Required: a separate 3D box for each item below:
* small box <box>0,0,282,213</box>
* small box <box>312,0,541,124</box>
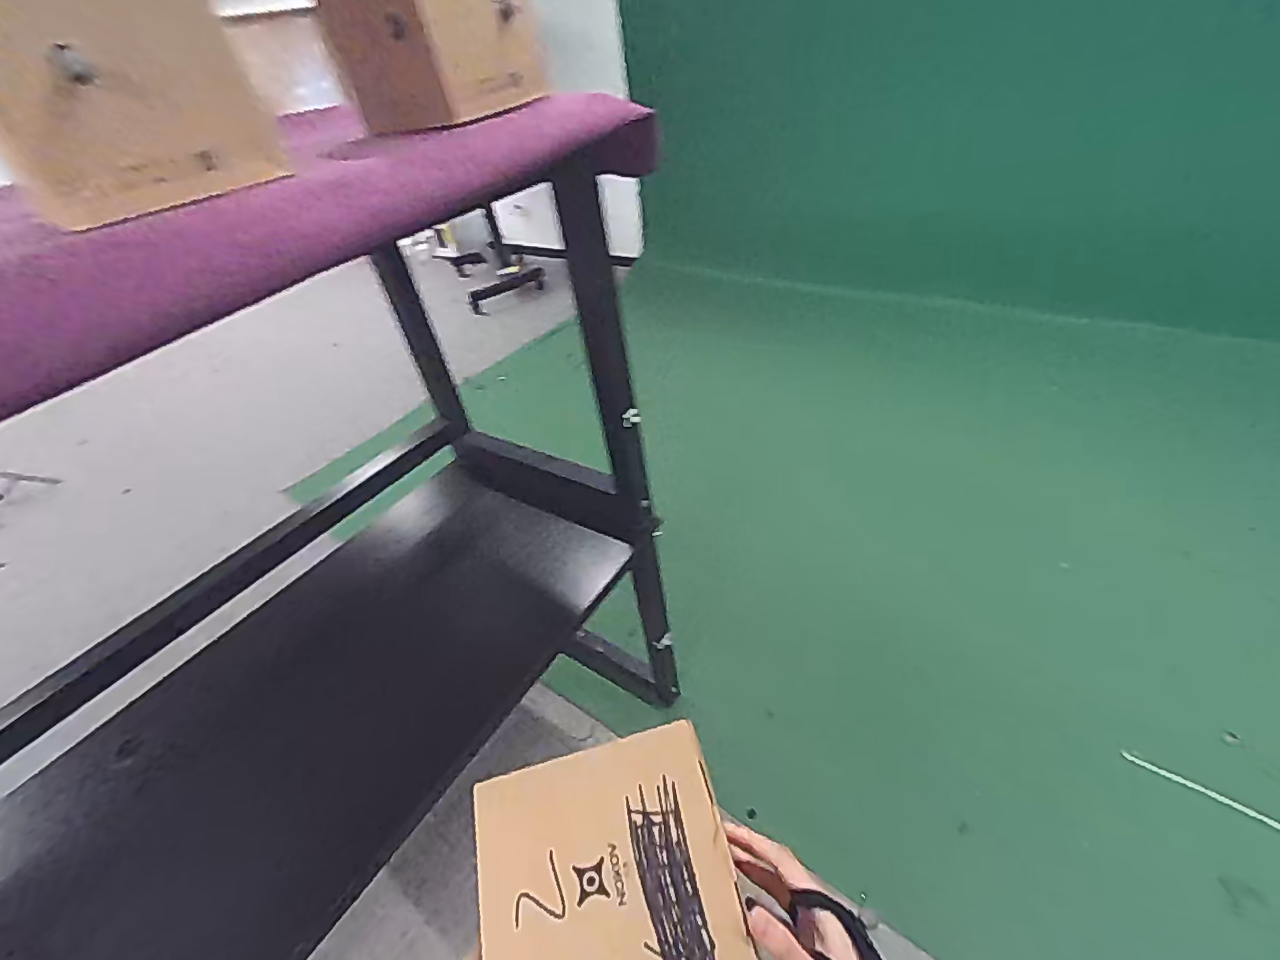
[{"bbox_3d":[-0.424,-0.319,0.418,0.179,0.176,0.168,23,50,34],"label":"small box"},{"bbox_3d":[-0.240,-0.526,0.619,0.179,0.176,0.168,17,47,30],"label":"small box"}]
